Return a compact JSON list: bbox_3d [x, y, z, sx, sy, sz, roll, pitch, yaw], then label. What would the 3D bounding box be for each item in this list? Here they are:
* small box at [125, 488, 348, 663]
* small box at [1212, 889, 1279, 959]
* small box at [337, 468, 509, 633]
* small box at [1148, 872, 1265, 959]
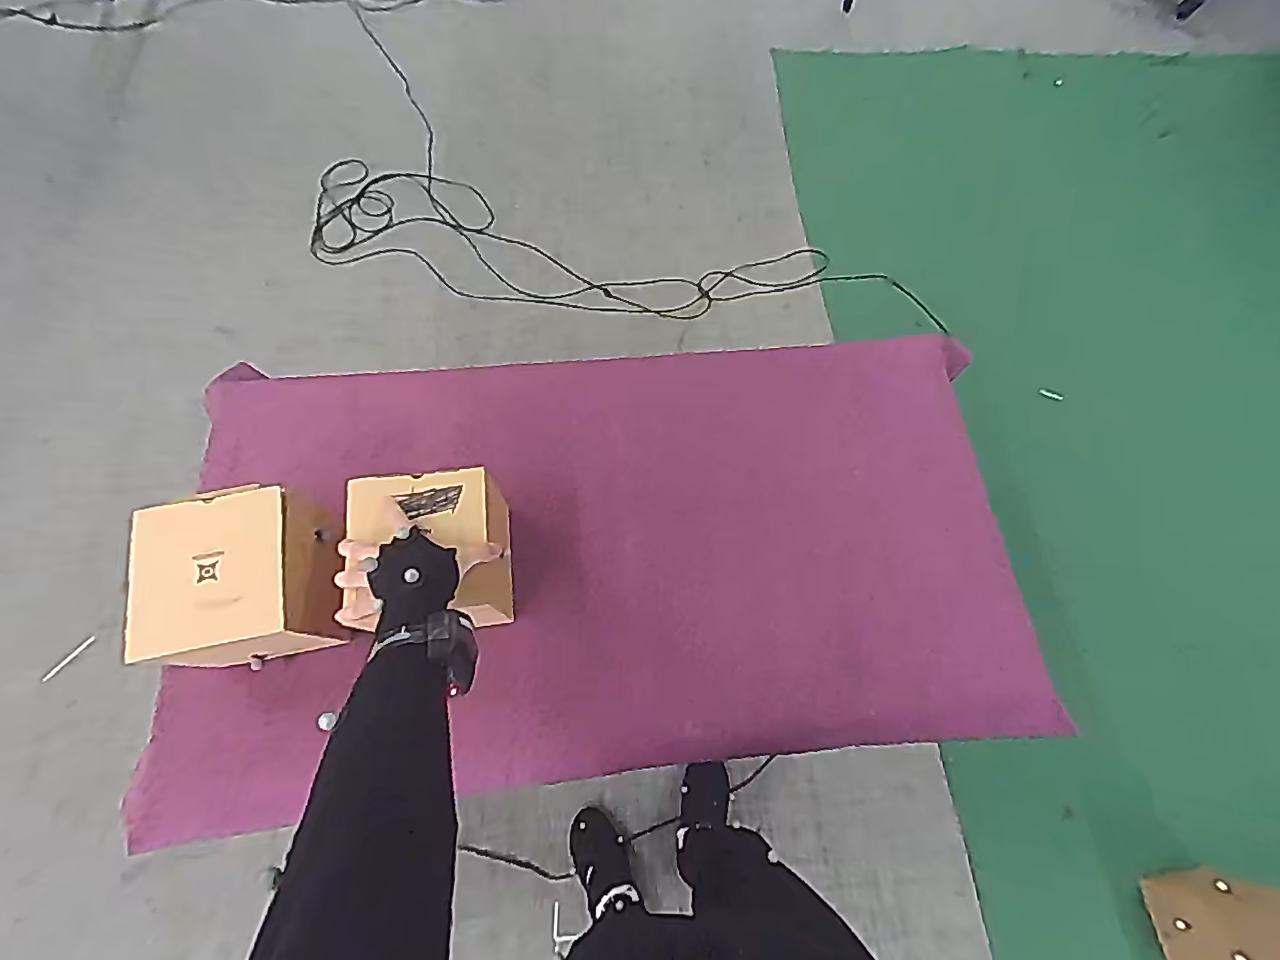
[{"bbox_3d":[-0.497,0.130,0.697,0.168,0.176,0.179,-10,71,-5],"label":"small box"},{"bbox_3d":[1.310,0.944,1.057,0.168,0.176,0.179,-7,70,-6],"label":"small box"},{"bbox_3d":[-0.272,0.099,0.716,0.168,0.176,0.179,-6,71,-4],"label":"small box"},{"bbox_3d":[1.303,1.007,1.208,0.179,0.176,0.168,-5,69,-5],"label":"small box"}]
